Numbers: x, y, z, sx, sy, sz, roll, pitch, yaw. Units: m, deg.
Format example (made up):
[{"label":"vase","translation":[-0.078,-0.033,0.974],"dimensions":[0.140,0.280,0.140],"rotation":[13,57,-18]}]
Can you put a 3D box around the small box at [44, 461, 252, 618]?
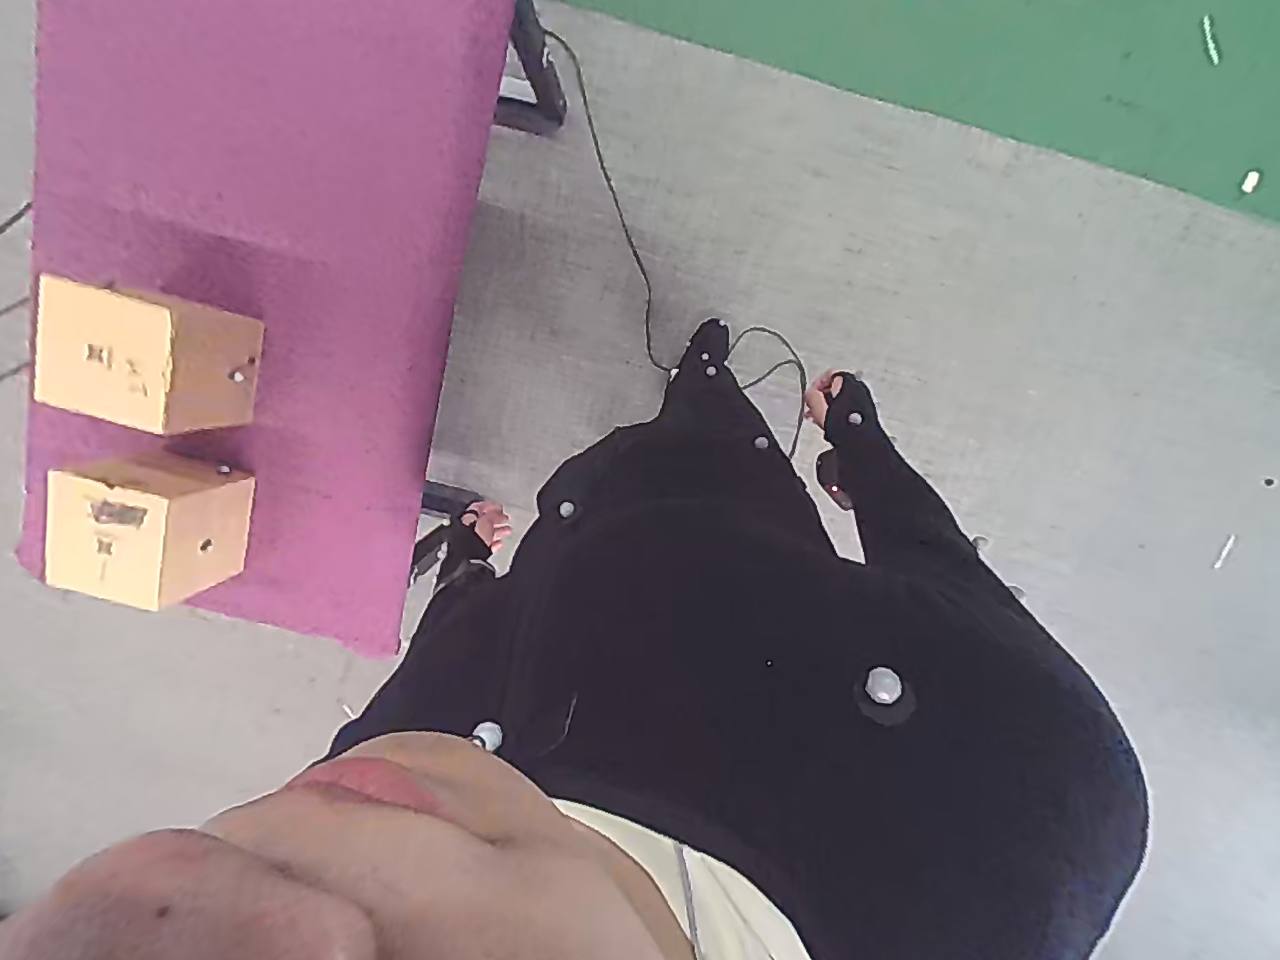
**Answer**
[{"label":"small box","translation":[-0.737,0.080,0.828],"dimensions":[0.168,0.176,0.179],"rotation":[15,102,-2]}]

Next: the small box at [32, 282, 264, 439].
[{"label":"small box","translation":[-0.694,-0.167,0.778],"dimensions":[0.179,0.176,0.168],"rotation":[16,102,-3]}]
